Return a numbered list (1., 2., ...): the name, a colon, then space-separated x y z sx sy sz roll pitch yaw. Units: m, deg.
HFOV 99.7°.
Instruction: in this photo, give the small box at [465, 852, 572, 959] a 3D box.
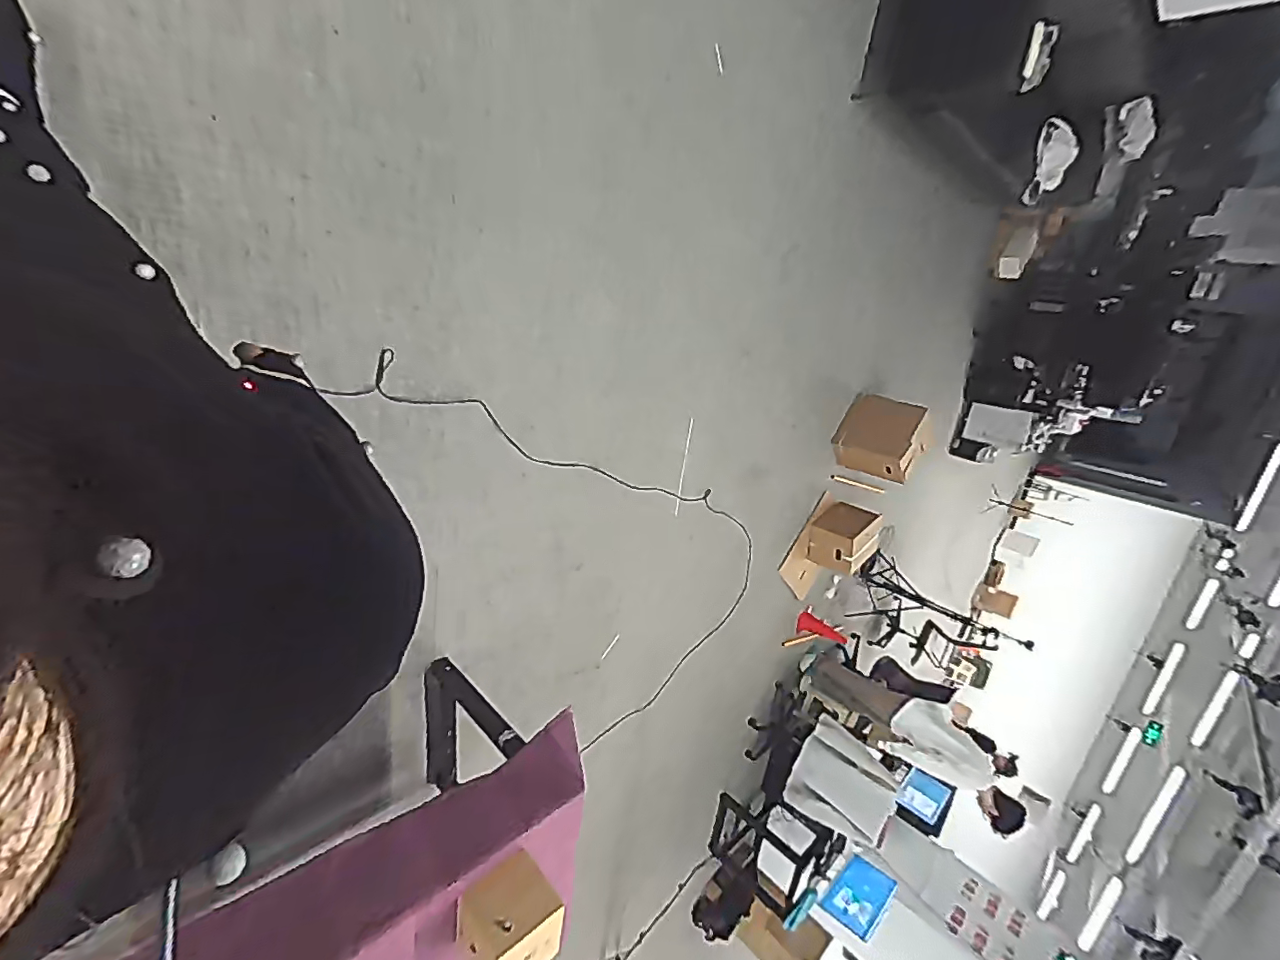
1. small box: -0.280 1.010 1.229 0.179 0.176 0.168 -9 116 -44
